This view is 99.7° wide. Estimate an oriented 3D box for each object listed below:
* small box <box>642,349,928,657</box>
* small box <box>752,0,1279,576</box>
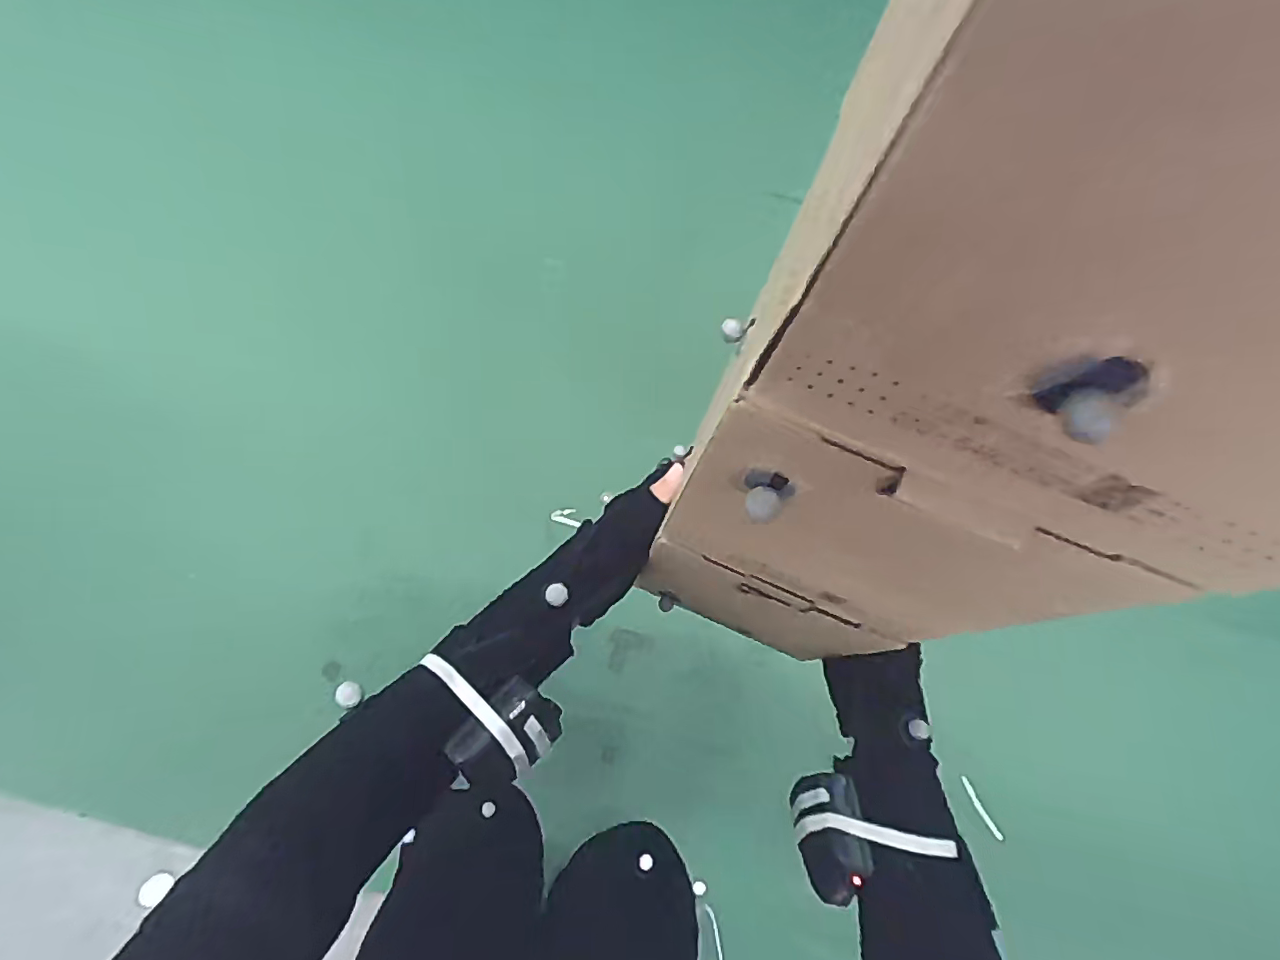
[{"bbox_3d":[0.109,0.033,0.449,0.168,0.176,0.179,24,67,3],"label":"small box"},{"bbox_3d":[0.147,-0.095,0.150,0.168,0.176,0.179,22,67,2],"label":"small box"}]
